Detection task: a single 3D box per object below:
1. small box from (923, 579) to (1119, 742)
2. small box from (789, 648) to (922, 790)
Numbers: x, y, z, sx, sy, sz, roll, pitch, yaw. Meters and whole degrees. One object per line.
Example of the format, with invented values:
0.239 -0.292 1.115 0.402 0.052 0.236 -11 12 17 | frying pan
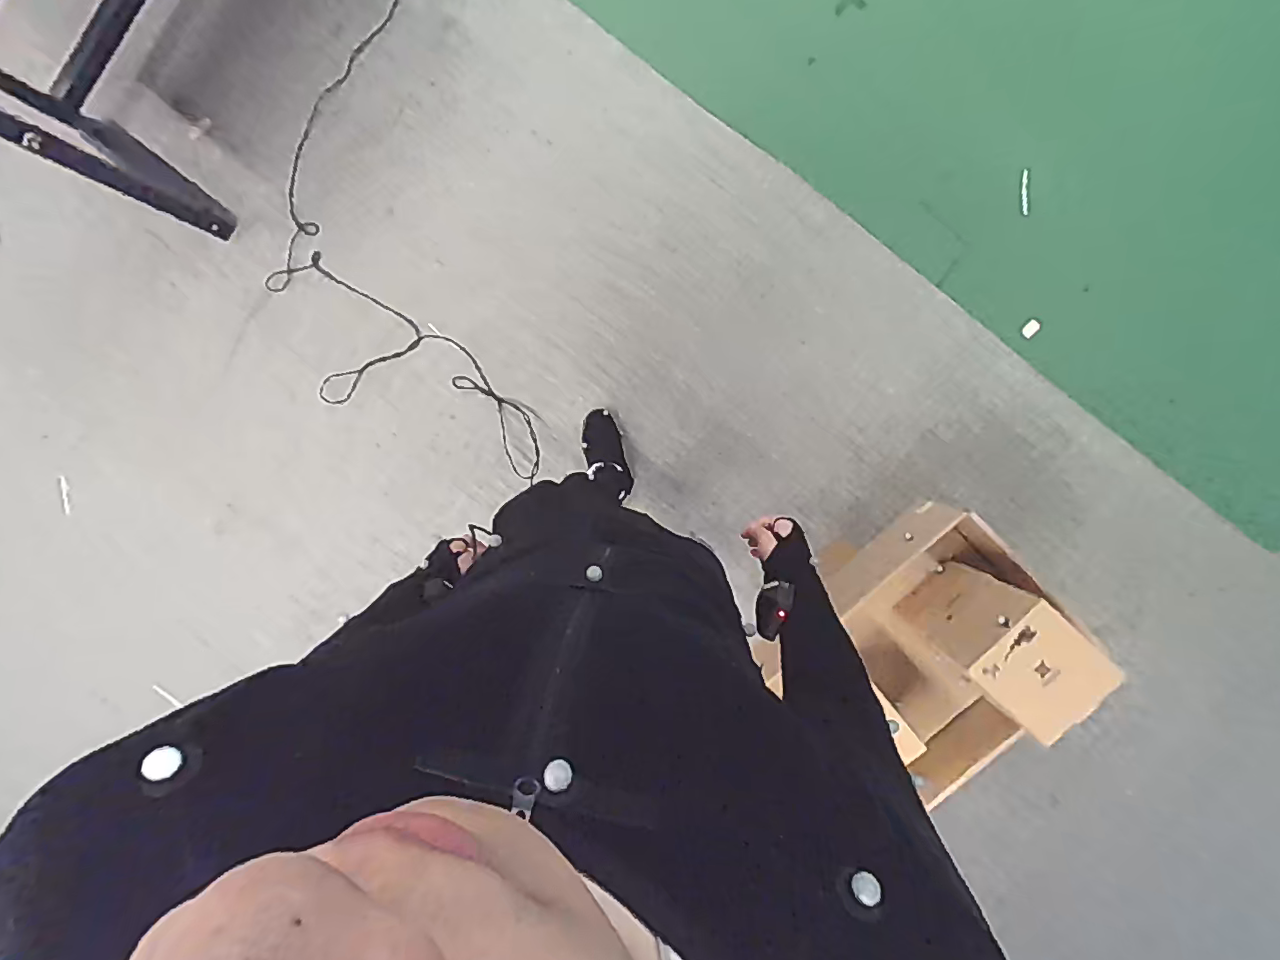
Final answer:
0.636 0.296 0.928 0.179 0.176 0.168 44 95 2 | small box
0.437 0.485 1.125 0.168 0.176 0.179 -39 89 6 | small box
